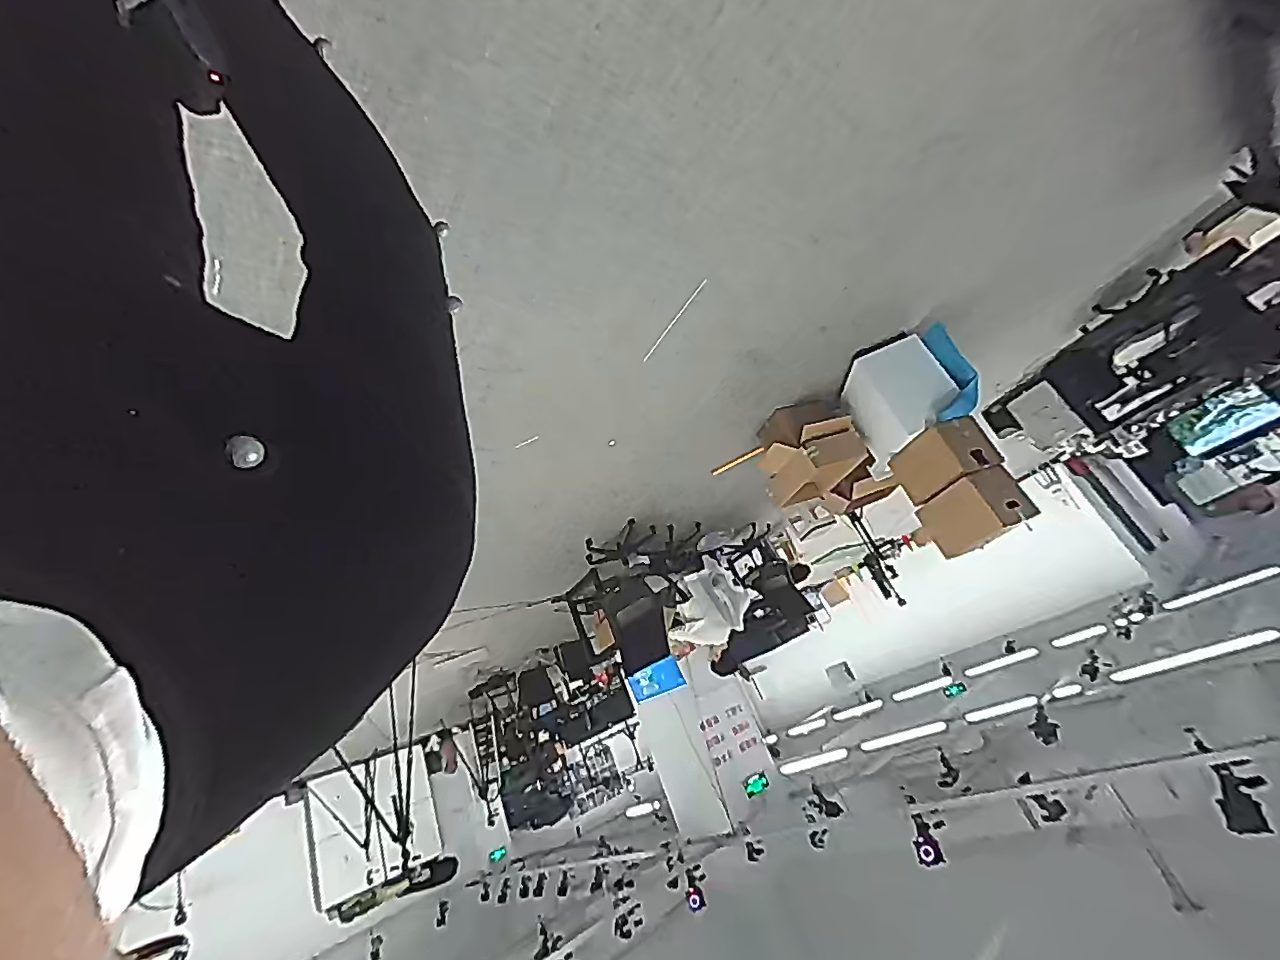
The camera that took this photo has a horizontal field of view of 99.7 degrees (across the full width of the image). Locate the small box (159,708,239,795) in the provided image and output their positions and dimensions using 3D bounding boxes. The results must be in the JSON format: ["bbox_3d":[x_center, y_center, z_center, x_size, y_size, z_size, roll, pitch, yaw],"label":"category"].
[{"bbox_3d":[-1.315,0.804,1.614,0.179,0.176,0.168,-3,149,-40],"label":"small box"}]
